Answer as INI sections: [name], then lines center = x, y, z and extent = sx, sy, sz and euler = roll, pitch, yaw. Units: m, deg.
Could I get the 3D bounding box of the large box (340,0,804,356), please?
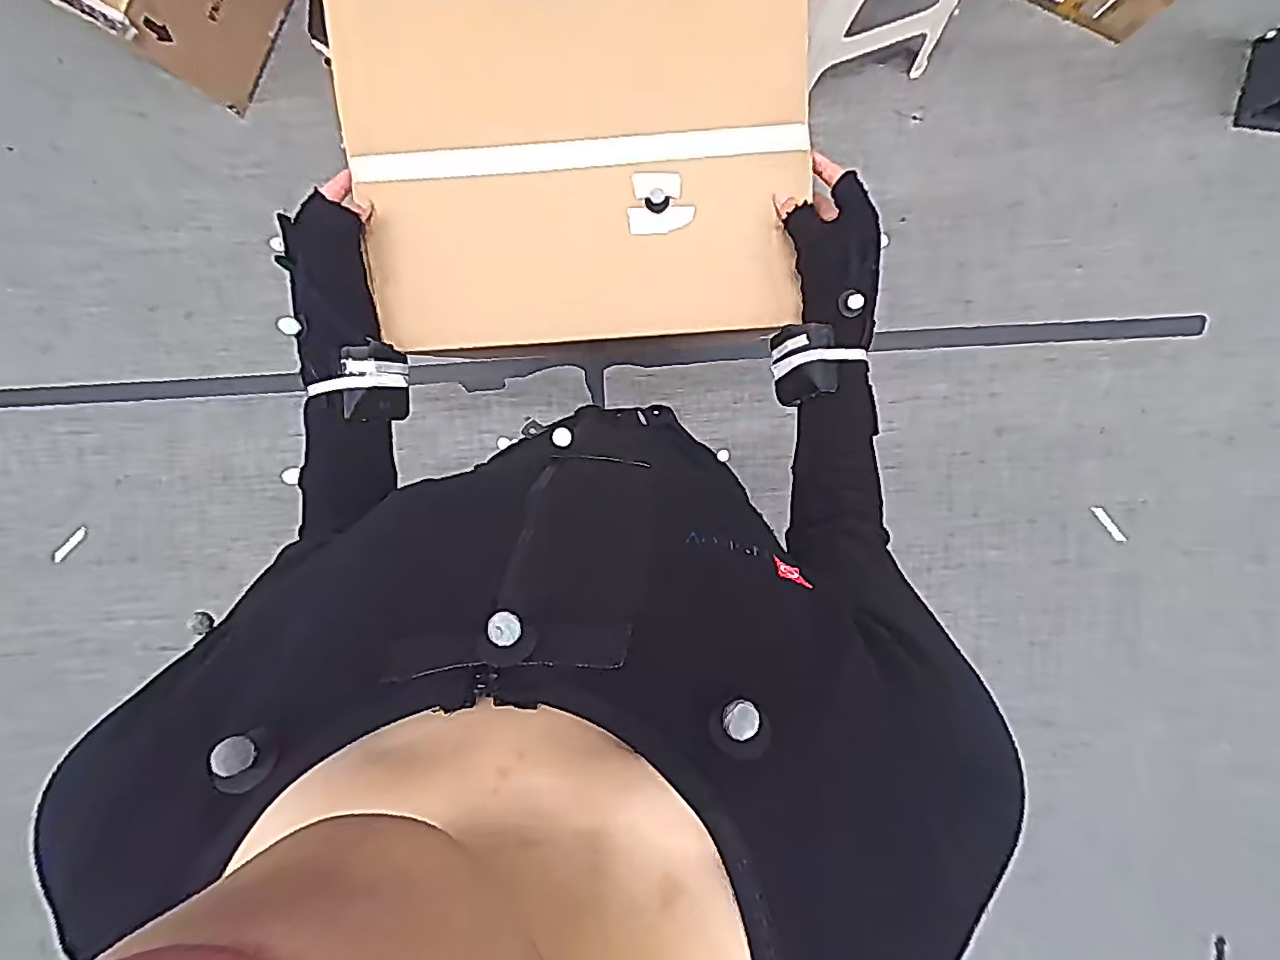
[large box]
center = -0.055, -0.323, 0.635
extent = 0.408, 0.320, 0.320
euler = -4, 101, 0
